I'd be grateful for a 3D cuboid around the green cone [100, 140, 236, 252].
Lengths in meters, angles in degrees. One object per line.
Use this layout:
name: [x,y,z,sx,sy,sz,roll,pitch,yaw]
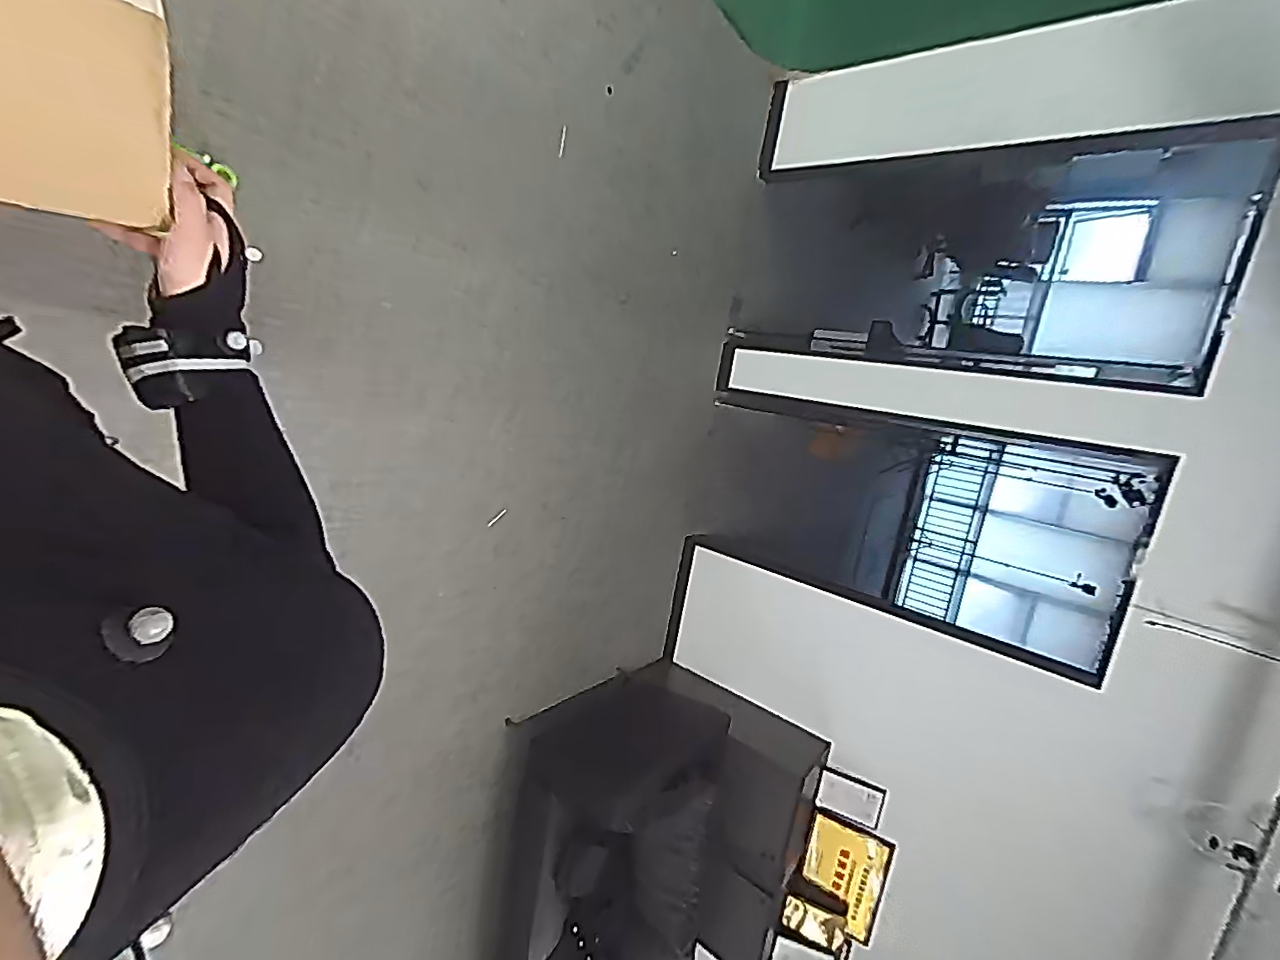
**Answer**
green cone: [-0.895,-0.594,1.084,0.200,0.368,0.202,8,96,-55]
